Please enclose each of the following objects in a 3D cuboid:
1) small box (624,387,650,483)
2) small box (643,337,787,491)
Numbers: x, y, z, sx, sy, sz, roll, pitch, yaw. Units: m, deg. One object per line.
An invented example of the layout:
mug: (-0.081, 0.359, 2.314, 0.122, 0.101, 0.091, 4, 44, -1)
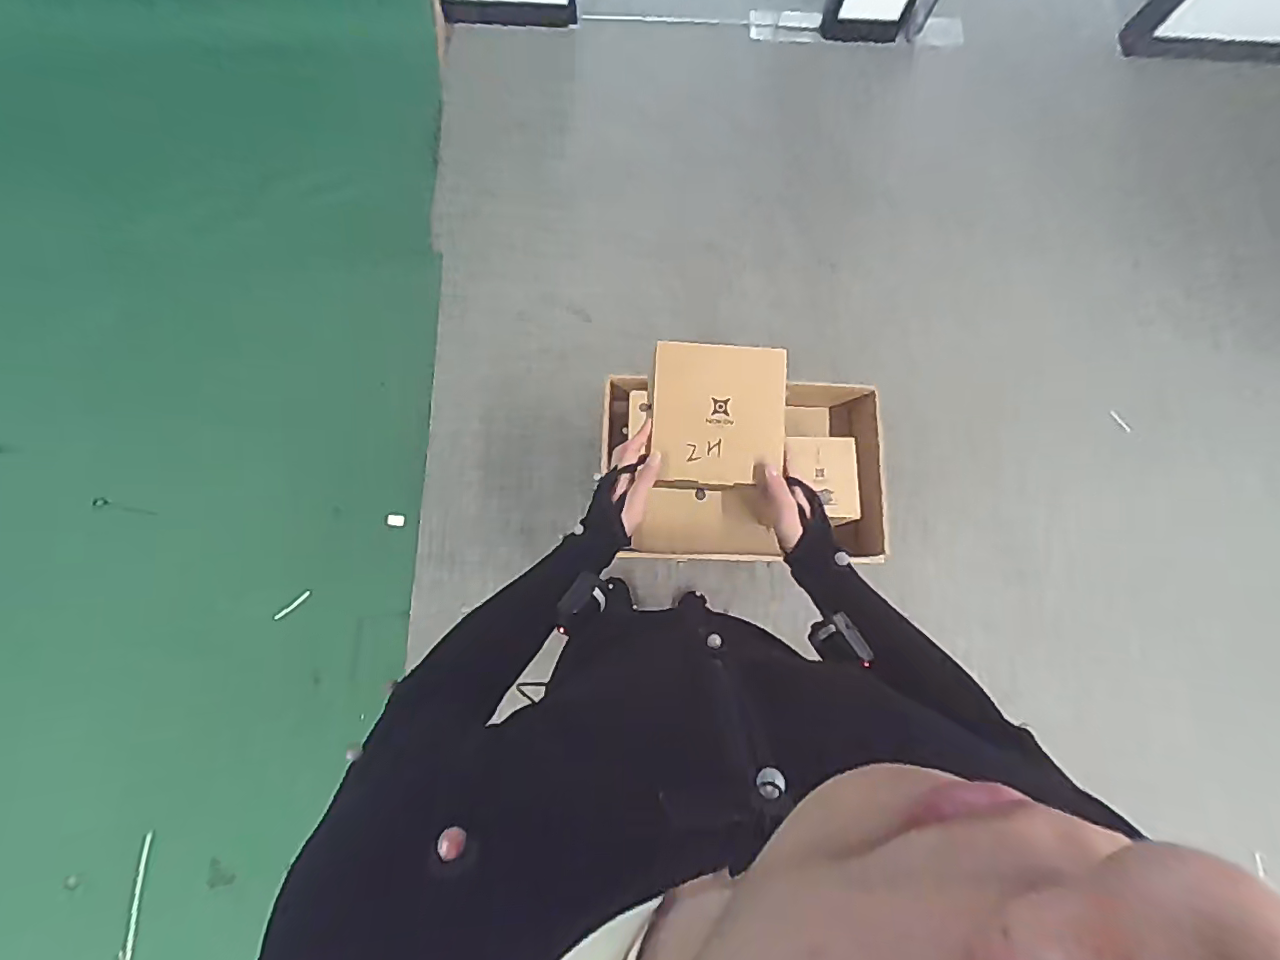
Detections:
small box: (0.053, -0.092, 1.208, 0.168, 0.176, 0.179, 3, 79, -2)
small box: (0.093, -0.080, 0.742, 0.168, 0.176, 0.179, 3, 86, -2)
